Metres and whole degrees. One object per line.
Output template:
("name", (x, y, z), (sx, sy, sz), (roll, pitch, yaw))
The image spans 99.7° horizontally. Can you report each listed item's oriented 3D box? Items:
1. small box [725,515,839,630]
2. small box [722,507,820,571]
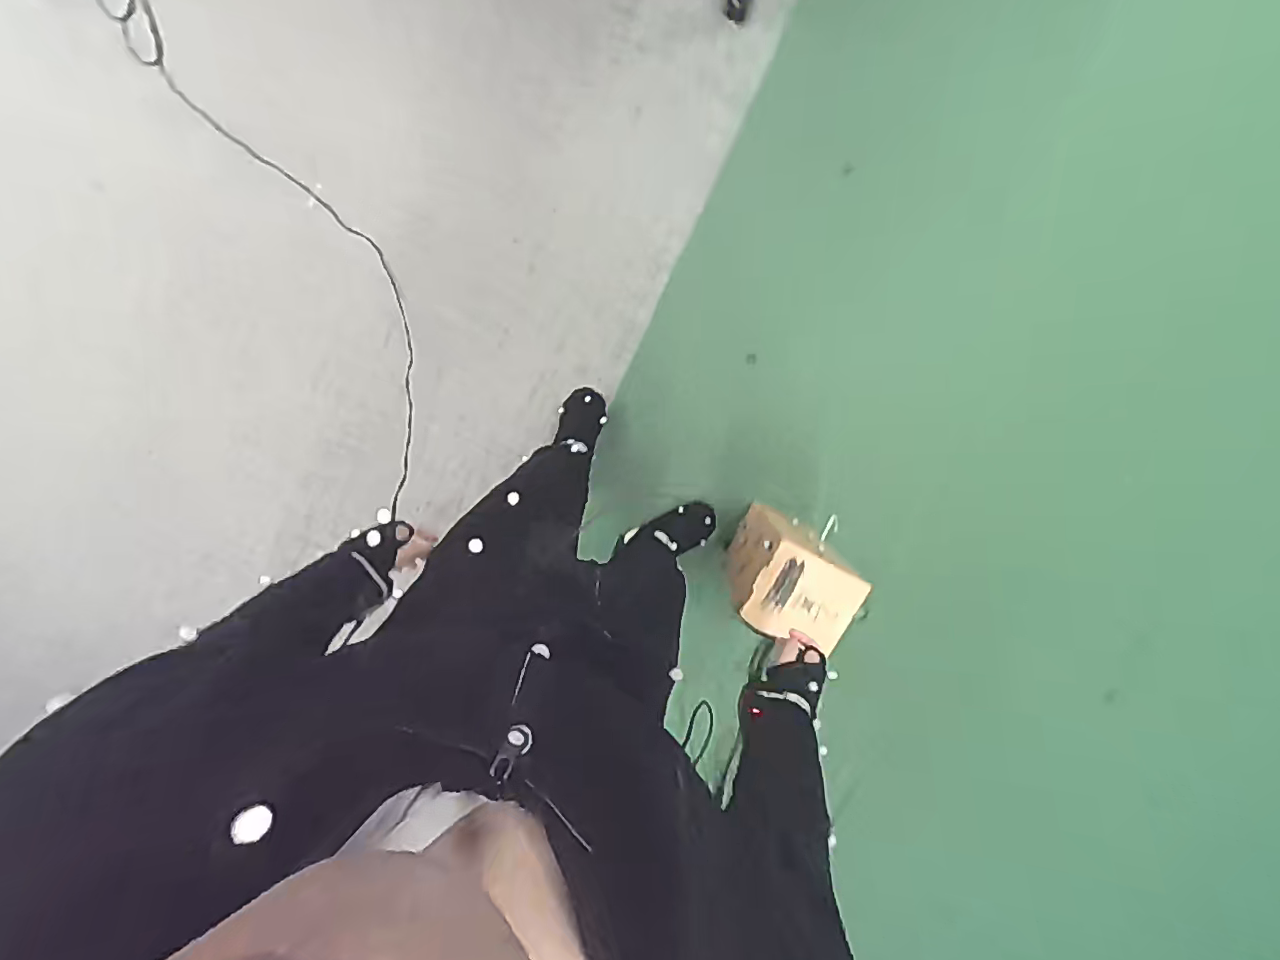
("small box", (0.304, 0.193, 1.196), (0.179, 0.176, 0.168), (30, 97, 2))
("small box", (0.319, 0.179, 1.360), (0.179, 0.176, 0.168), (27, 98, 2))
